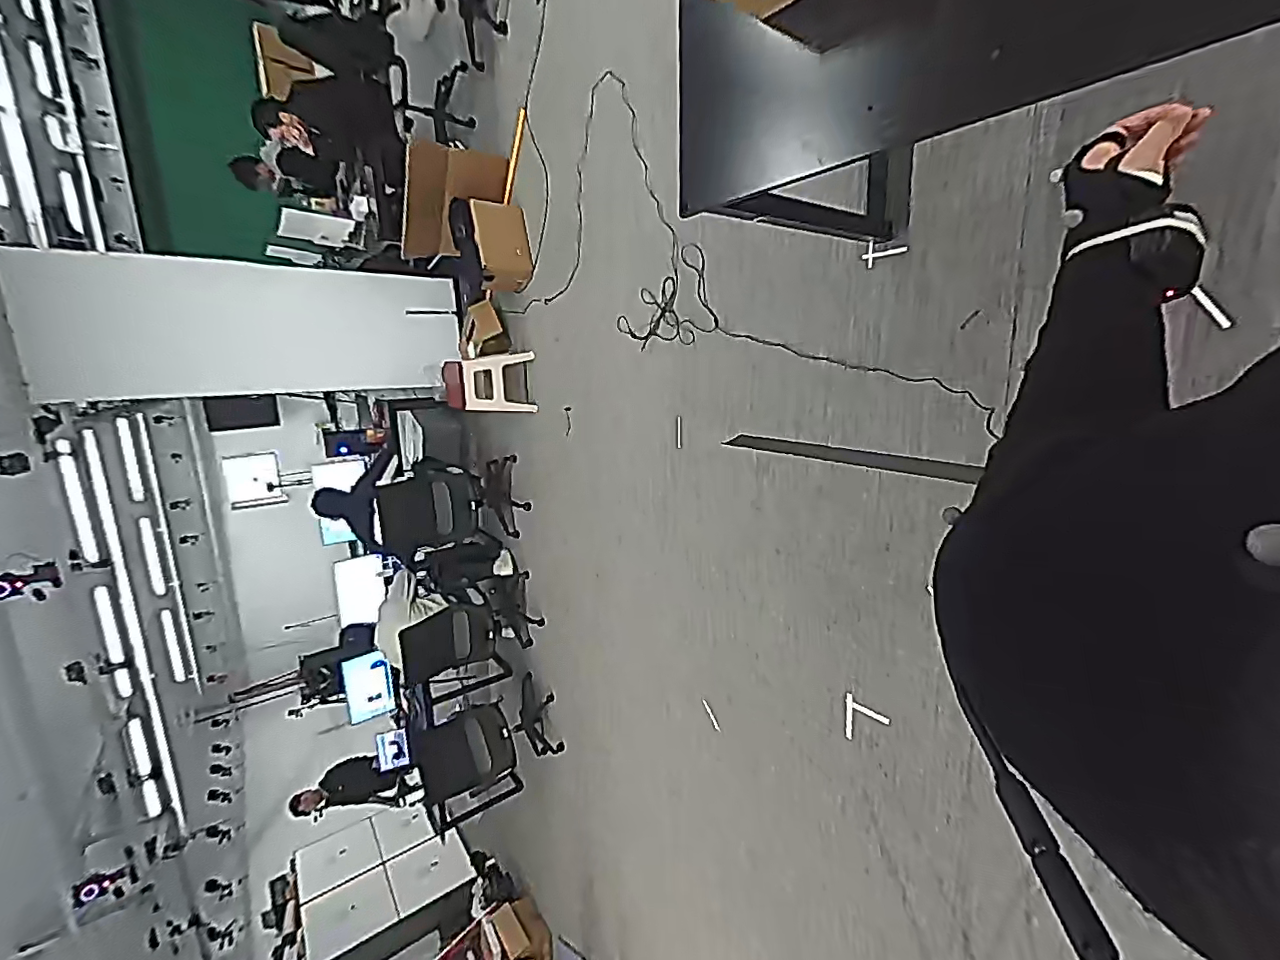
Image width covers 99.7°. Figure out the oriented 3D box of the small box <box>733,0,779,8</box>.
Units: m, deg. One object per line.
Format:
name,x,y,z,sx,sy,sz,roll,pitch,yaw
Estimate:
small box,0.187,-0.845,0.796,0.168,0.176,0.179,19,113,50
